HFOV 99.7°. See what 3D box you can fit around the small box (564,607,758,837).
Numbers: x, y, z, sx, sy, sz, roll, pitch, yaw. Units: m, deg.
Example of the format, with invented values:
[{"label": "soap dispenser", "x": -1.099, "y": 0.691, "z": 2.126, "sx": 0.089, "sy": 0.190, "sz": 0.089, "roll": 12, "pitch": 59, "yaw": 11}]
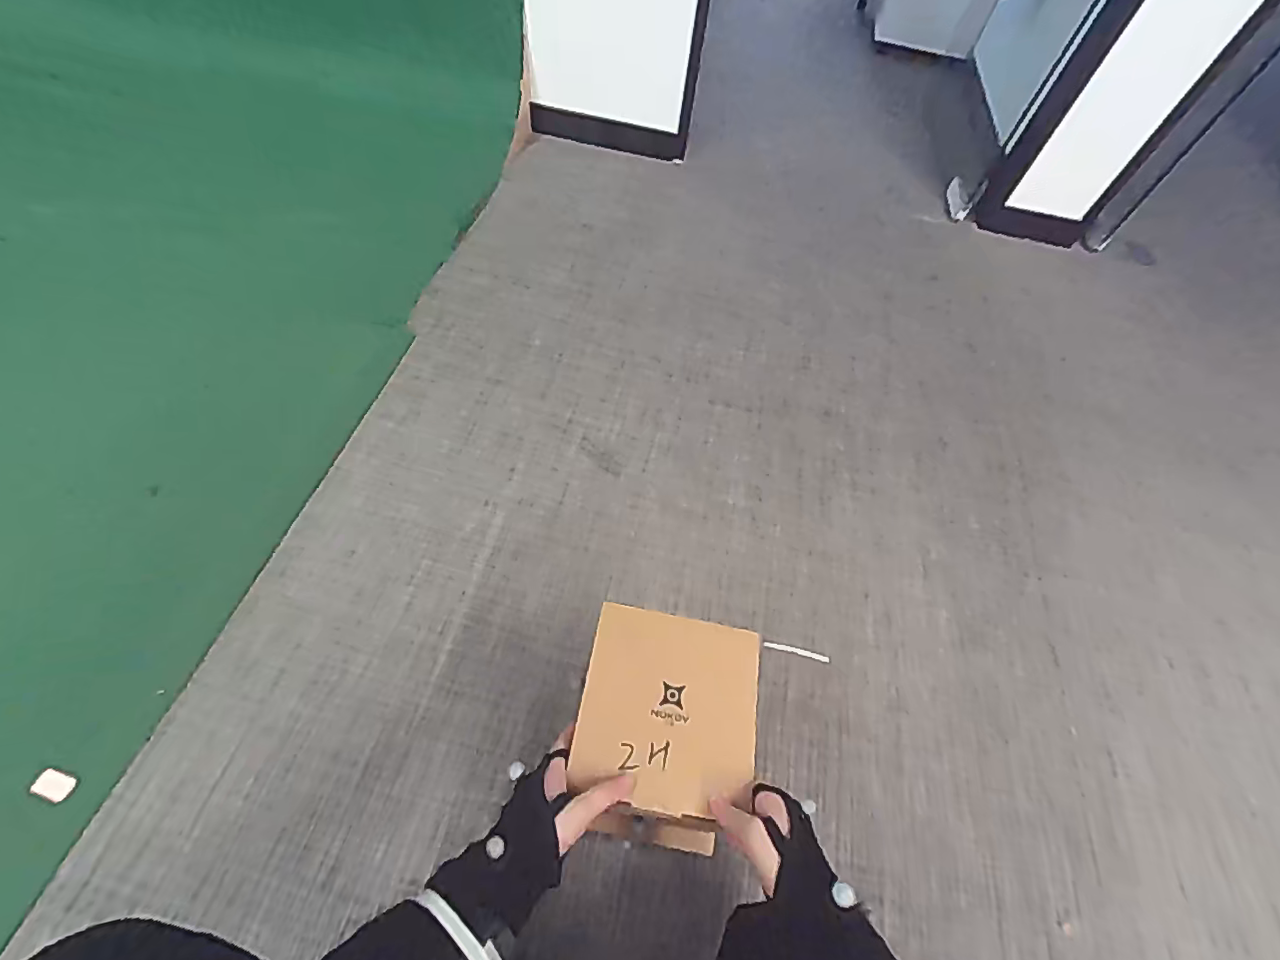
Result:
[{"label": "small box", "x": 0.019, "y": 0.261, "z": 0.575, "sx": 0.168, "sy": 0.176, "sz": 0.179, "roll": 11, "pitch": 56, "yaw": 1}]
